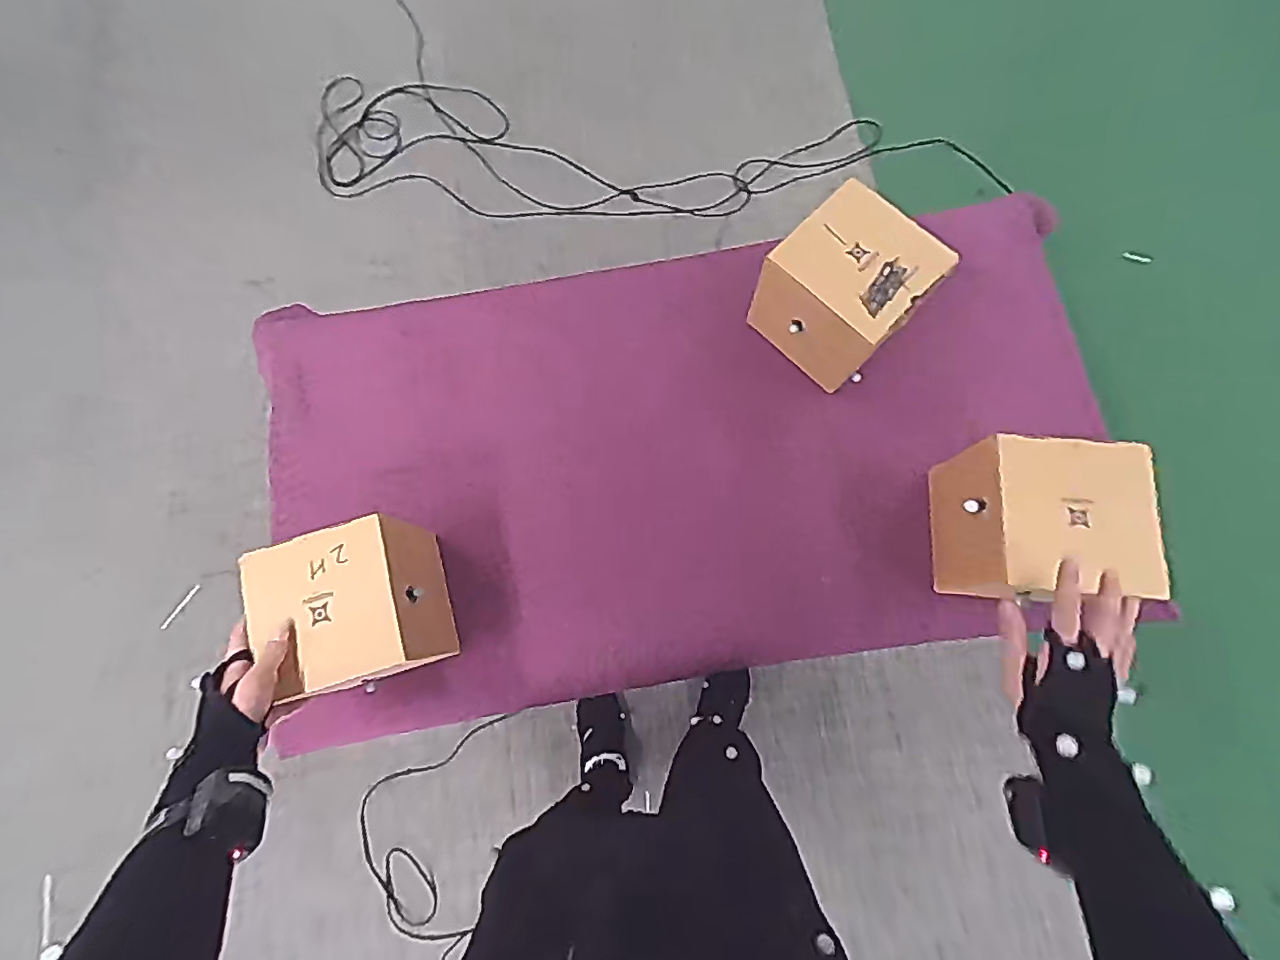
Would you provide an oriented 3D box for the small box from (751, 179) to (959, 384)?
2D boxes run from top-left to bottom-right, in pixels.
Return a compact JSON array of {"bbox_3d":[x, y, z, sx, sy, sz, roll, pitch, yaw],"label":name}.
[{"bbox_3d":[0.278,-0.255,0.744,0.168,0.176,0.179,-44,80,-7],"label":"small box"}]

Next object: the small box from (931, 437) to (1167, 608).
[{"bbox_3d":[0.479,0.061,0.664,0.168,0.176,0.179,5,75,4],"label":"small box"}]

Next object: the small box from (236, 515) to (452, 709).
[{"bbox_3d":[-0.352,0.159,0.672,0.168,0.176,0.179,-17,76,-2],"label":"small box"}]
